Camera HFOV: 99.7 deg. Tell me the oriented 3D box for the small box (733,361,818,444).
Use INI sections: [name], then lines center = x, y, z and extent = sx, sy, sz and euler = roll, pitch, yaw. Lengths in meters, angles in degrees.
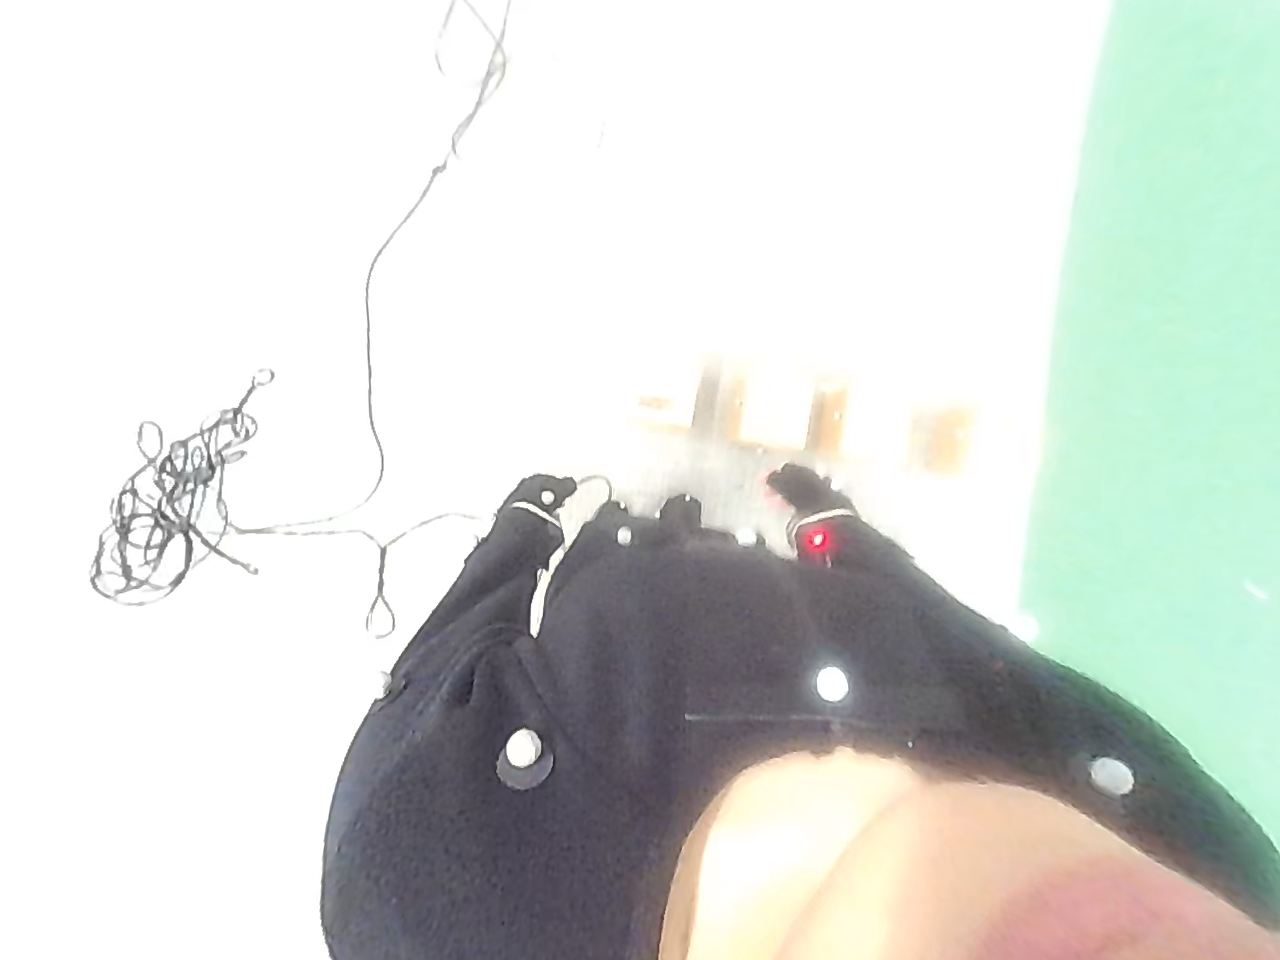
[small box]
center = 0.344, -0.194, 1.403
extent = 0.168, 0.176, 0.179
euler = 8, 90, -1
